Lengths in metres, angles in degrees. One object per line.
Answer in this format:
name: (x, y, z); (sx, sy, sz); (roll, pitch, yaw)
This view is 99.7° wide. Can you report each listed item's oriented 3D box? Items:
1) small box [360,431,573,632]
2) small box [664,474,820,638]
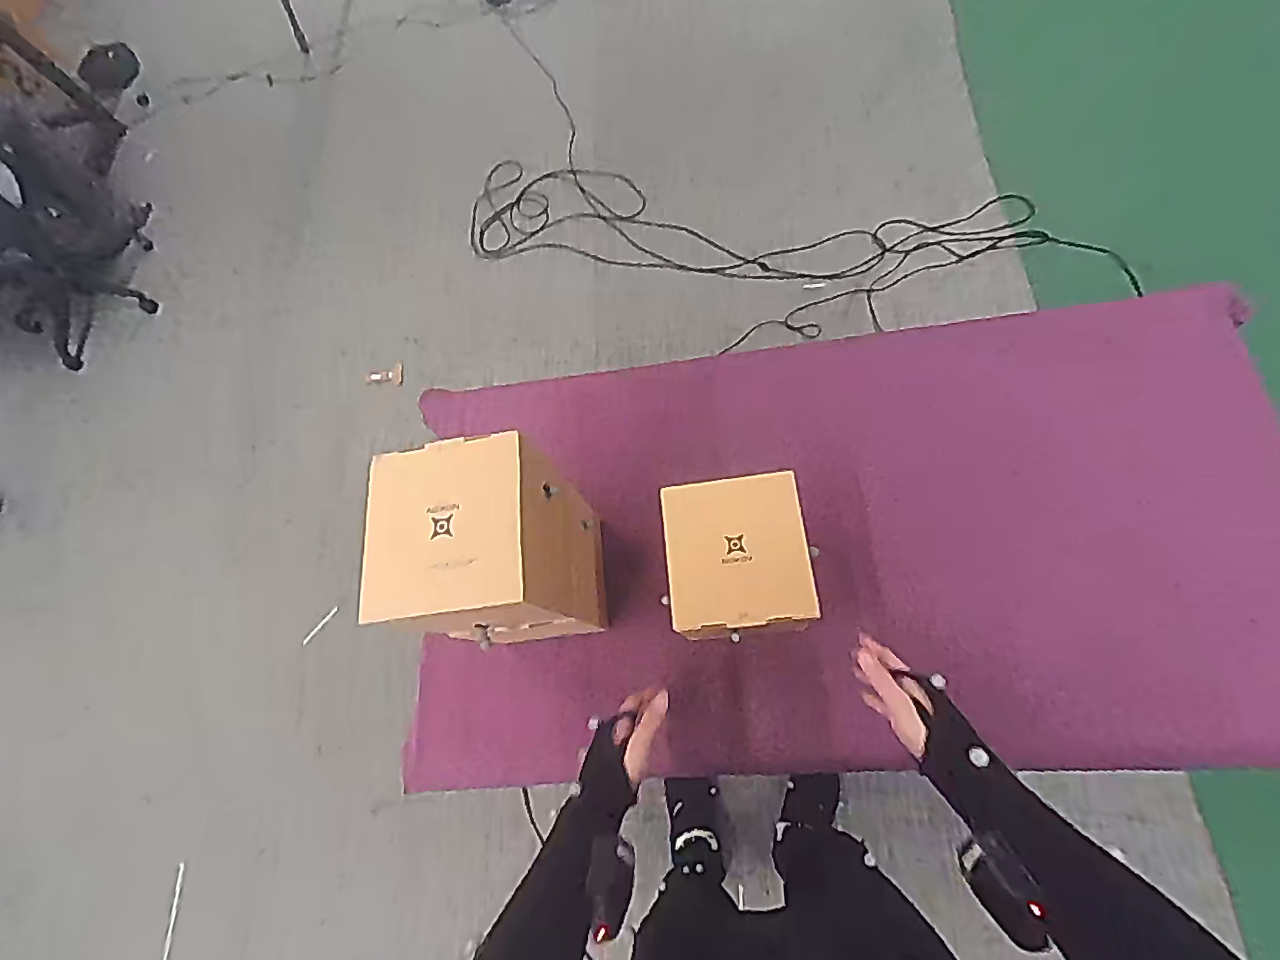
small box: (-0.177, 0.067, 0.602); (0.168, 0.176, 0.179); (-8, 70, 7)
small box: (0.127, 0.109, 0.712); (0.168, 0.176, 0.179); (-8, 71, 8)
